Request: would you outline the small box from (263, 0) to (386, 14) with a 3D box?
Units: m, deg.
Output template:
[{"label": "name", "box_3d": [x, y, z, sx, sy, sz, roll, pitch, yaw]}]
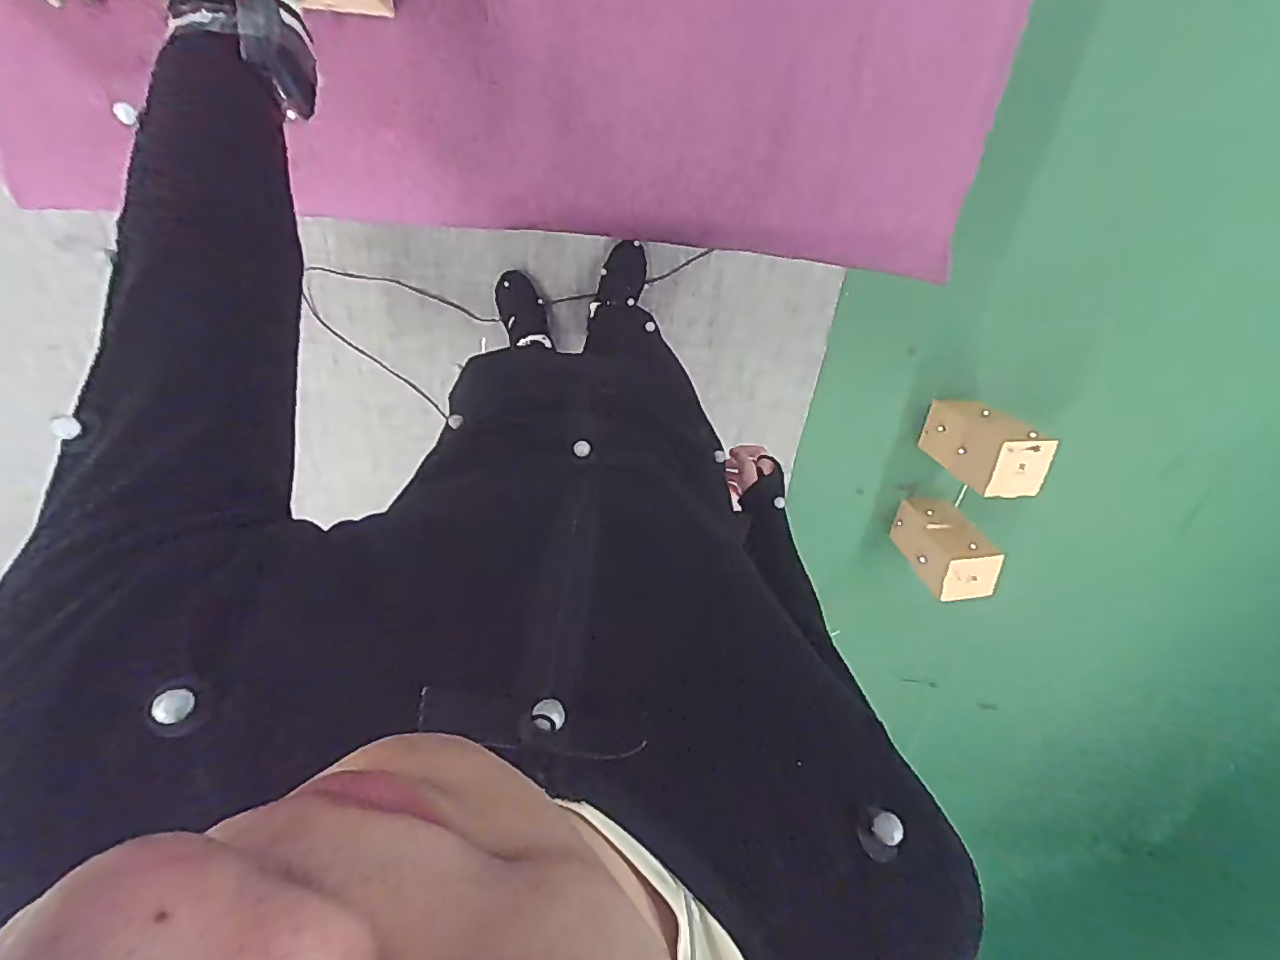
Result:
[{"label": "small box", "box_3d": [-0.346, -0.557, 0.483, 0.168, 0.176, 0.179, 1, 120, -7]}]

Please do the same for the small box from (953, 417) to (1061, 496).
[{"label": "small box", "box_3d": [1.045, -0.070, 1.560, 0.168, 0.176, 0.179, -1, 120, -6]}]

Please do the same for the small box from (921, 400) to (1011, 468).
[{"label": "small box", "box_3d": [1.028, -0.146, 1.705, 0.179, 0.176, 0.168, 0, 119, -7]}]

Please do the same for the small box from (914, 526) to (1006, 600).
[{"label": "small box", "box_3d": [1.024, 0.263, 1.745, 0.179, 0.176, 0.168, -6, 119, -2]}]
